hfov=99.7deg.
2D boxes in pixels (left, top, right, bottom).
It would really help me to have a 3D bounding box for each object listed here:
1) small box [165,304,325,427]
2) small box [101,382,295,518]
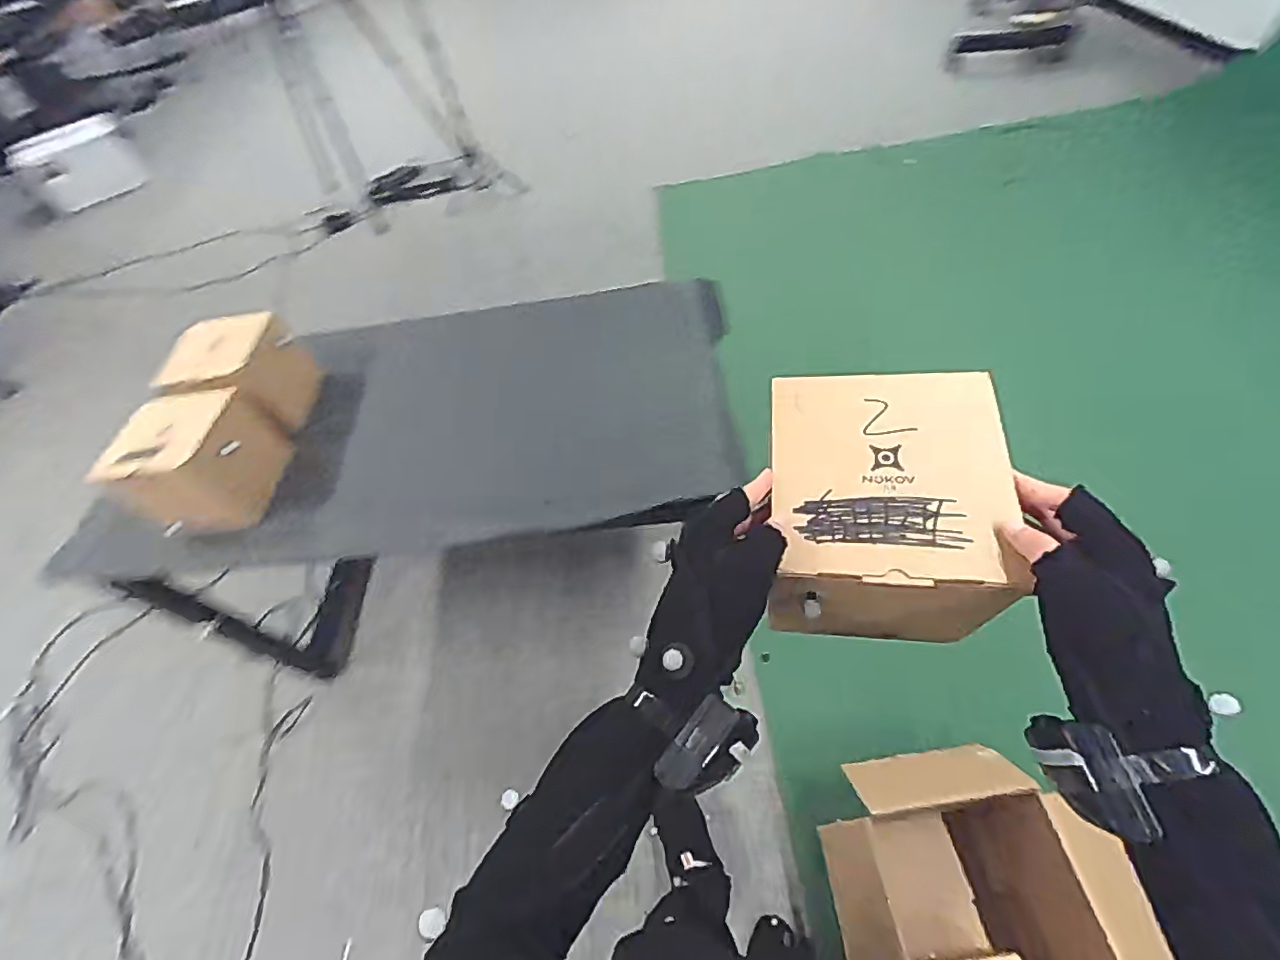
[{"bbox_3d":[-0.766,-0.220,1.076,0.168,0.176,0.179,-7,54,5],"label":"small box"},{"bbox_3d":[-0.753,-0.045,0.949,0.168,0.176,0.179,-5,52,5],"label":"small box"}]
